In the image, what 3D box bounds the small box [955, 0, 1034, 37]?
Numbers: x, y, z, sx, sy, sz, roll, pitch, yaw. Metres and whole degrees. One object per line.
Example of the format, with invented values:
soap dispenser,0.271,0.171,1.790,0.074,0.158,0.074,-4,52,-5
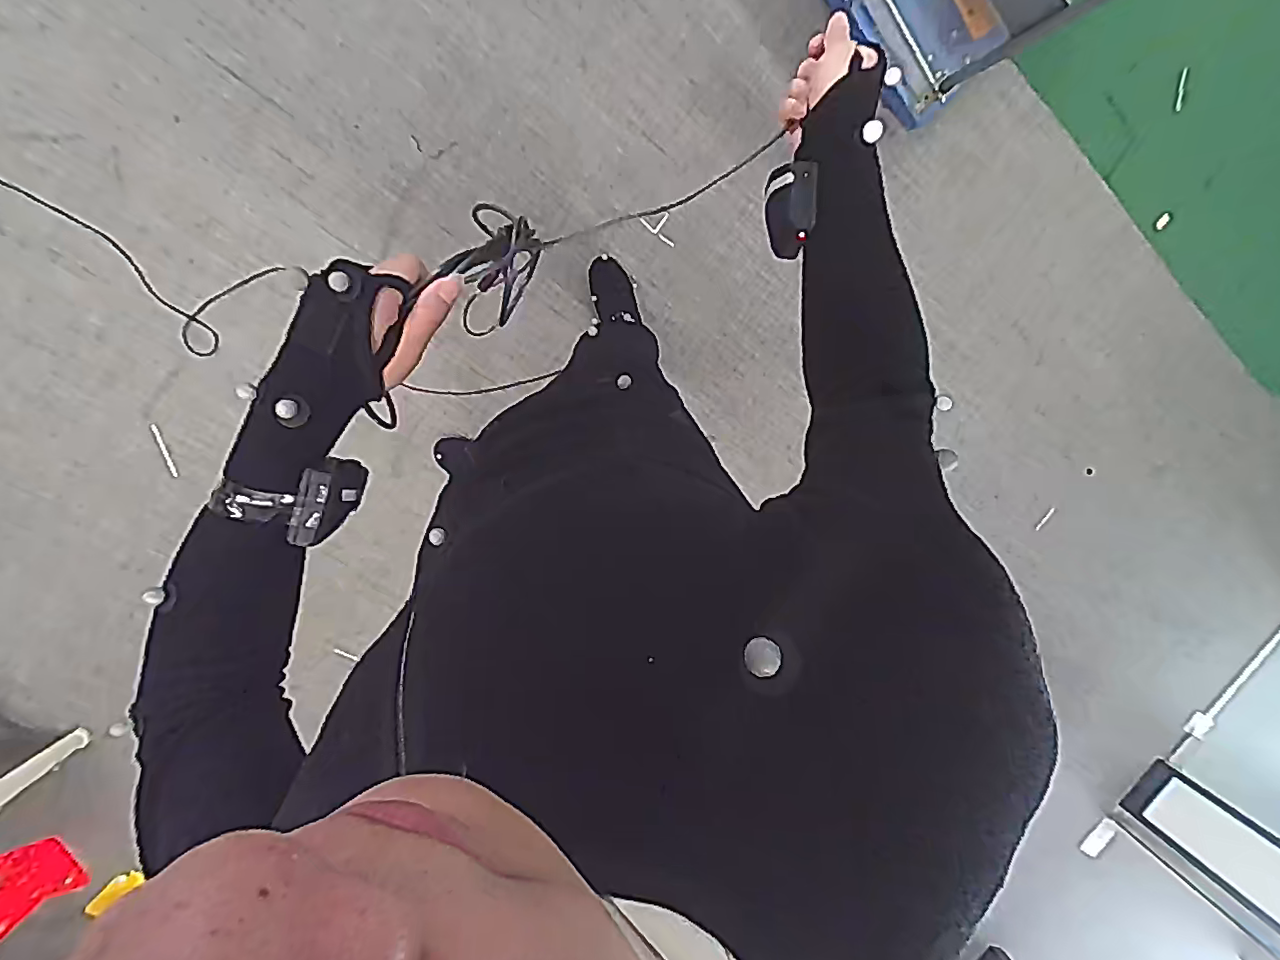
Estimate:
small box,0.847,-1.173,1.222,0.179,0.176,0.168,-43,108,3
